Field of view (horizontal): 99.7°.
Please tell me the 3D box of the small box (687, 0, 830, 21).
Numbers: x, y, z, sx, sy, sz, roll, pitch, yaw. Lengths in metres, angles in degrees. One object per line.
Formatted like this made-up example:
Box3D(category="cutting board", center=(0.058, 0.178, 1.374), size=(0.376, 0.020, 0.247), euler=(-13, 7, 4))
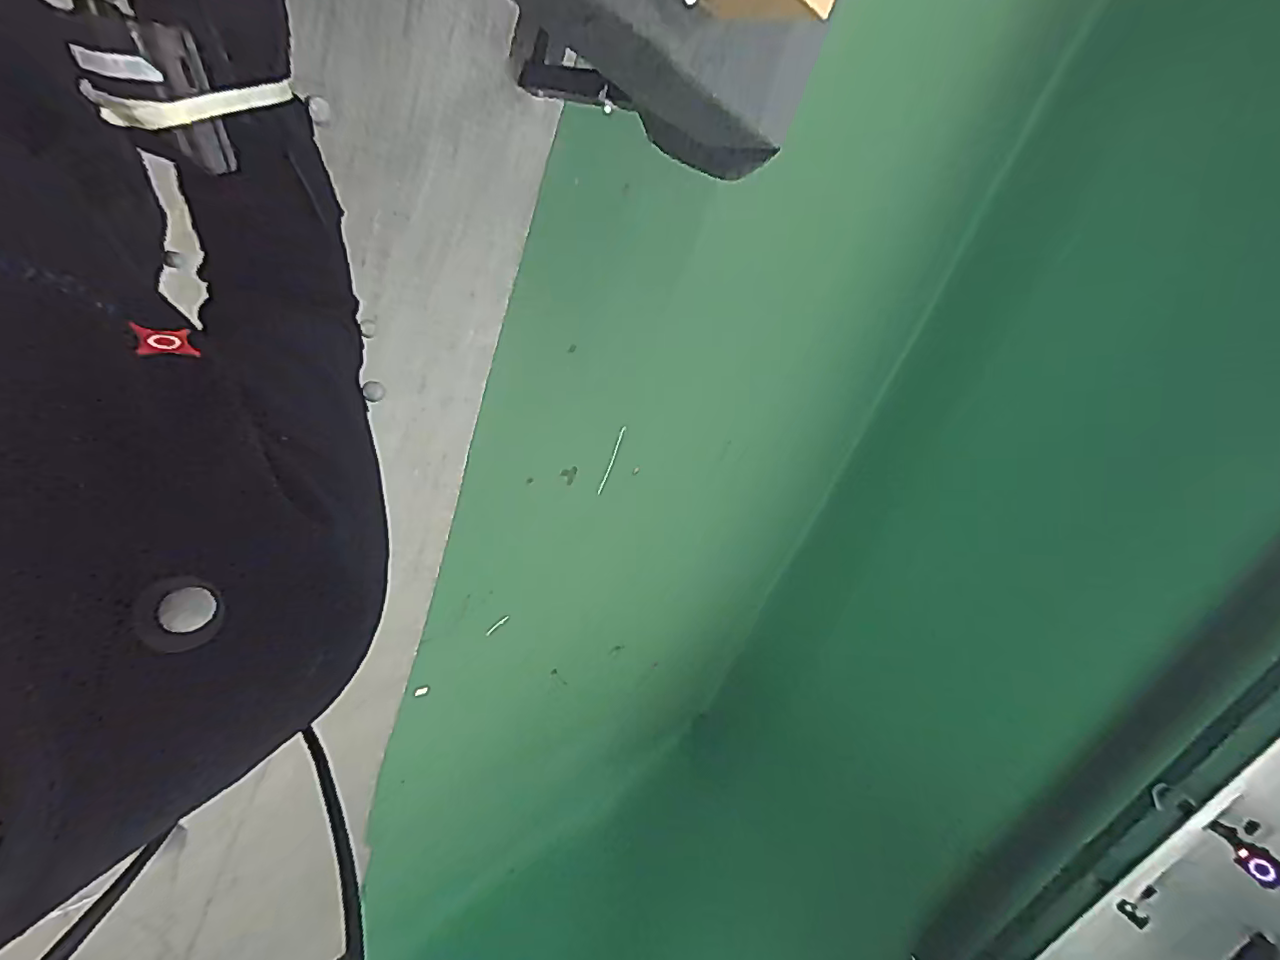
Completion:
Box3D(category="small box", center=(0.119, -0.627, 0.571), size=(0.168, 0.176, 0.179), euler=(-12, 128, -43))
